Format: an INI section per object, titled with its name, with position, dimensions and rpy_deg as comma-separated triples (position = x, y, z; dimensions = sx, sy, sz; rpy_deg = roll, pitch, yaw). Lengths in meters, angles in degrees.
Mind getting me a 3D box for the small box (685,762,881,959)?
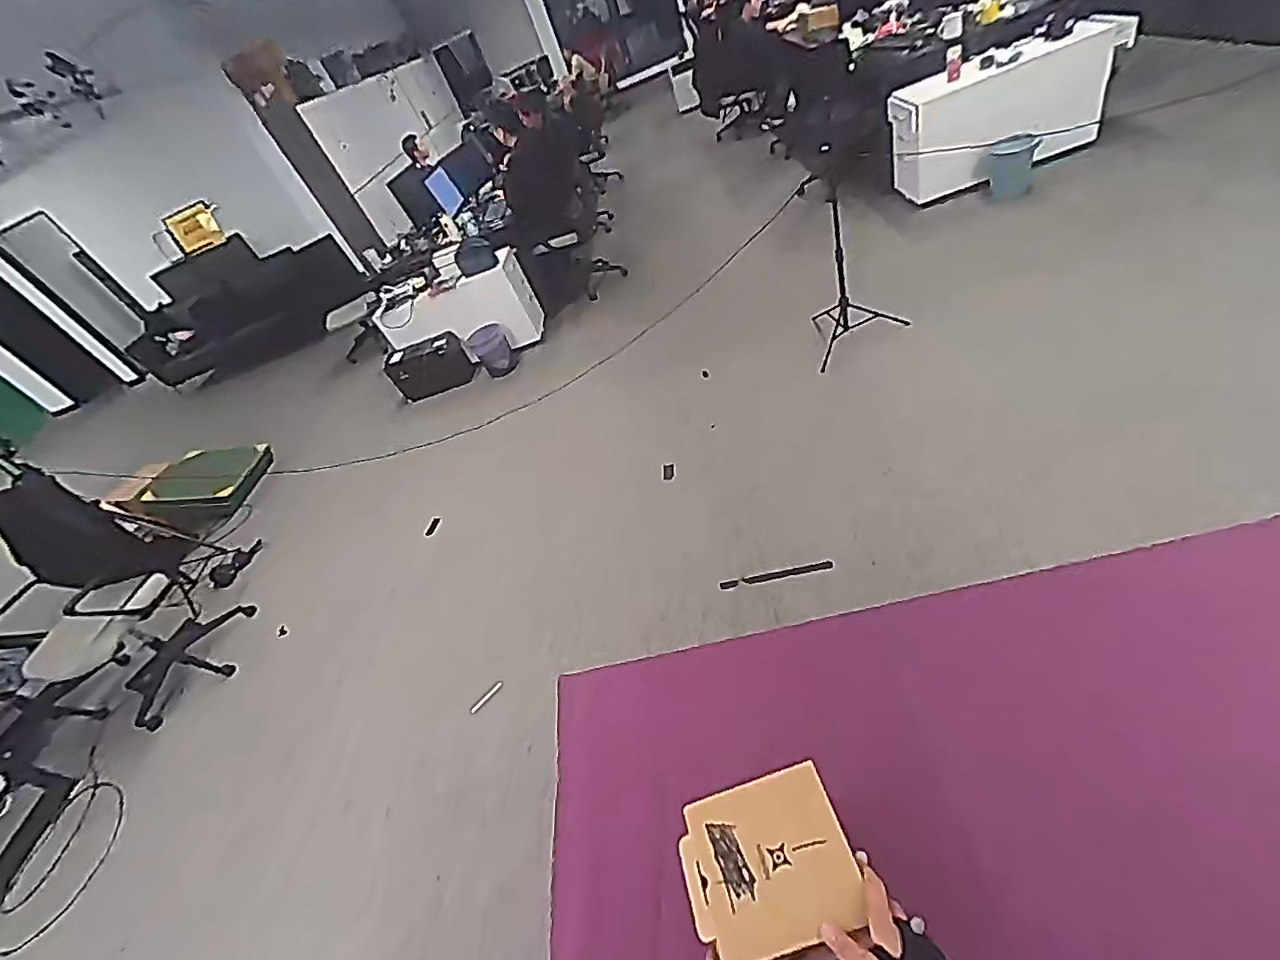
[small box]
position = 0.177, 0.488, 0.670
dimensions = 0.179, 0.176, 0.168
rpy_deg = -22, 41, 3
